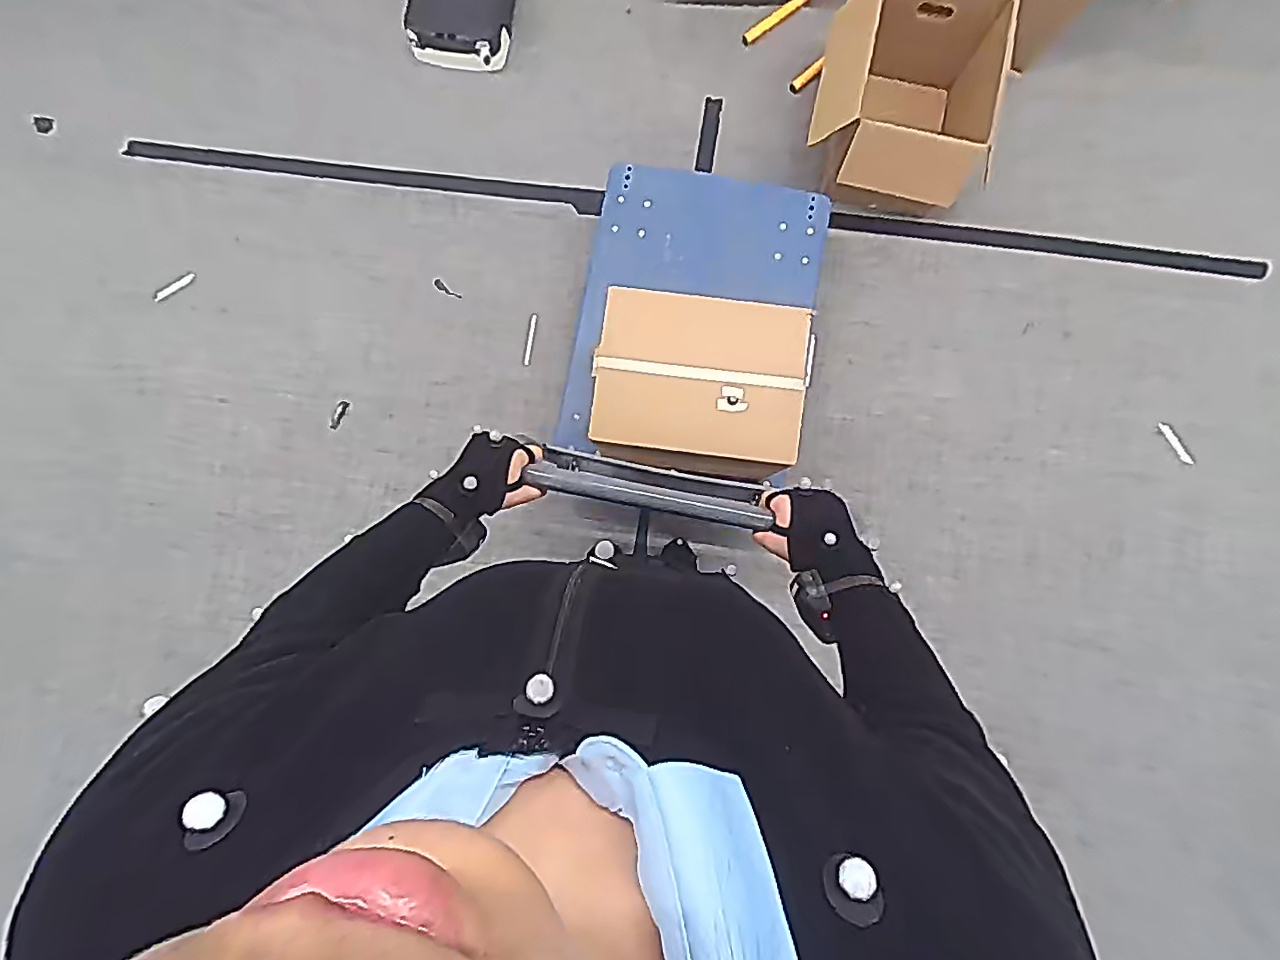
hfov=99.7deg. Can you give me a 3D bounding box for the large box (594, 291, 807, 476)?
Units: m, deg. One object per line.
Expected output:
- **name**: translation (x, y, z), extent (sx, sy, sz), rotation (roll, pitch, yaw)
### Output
- **large box**: translation (0.119, -0.194, 1.211), extent (0.408, 0.320, 0.320), rotation (7, 86, 1)
